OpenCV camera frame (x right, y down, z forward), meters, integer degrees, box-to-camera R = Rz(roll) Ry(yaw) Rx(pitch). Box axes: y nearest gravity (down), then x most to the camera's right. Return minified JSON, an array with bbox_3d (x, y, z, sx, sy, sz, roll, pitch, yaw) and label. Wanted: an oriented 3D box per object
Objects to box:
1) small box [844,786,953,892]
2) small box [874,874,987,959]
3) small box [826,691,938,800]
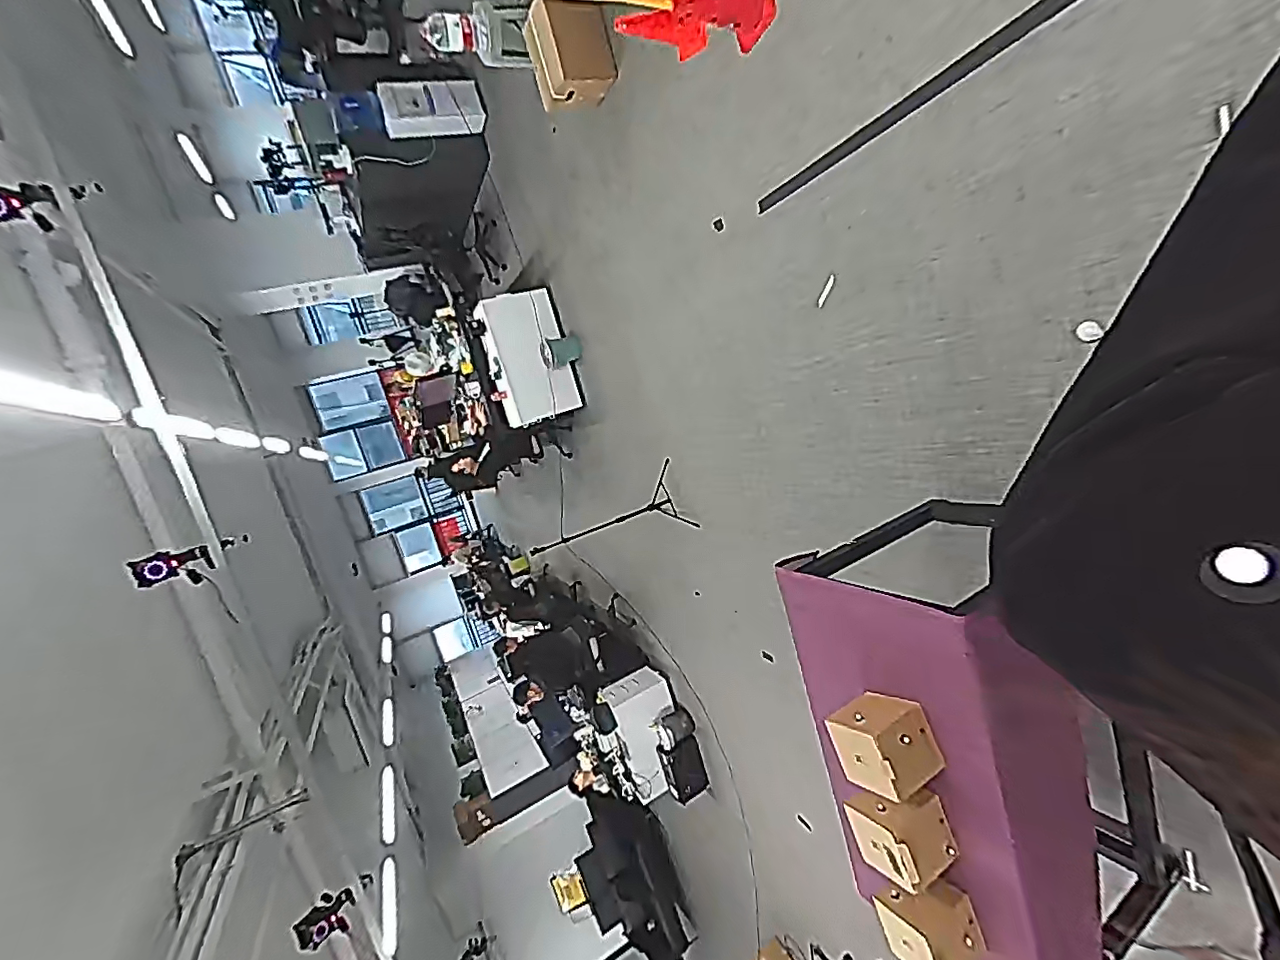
[{"bbox_3d":[0.677,0.900,1.405,0.179,0.176,0.168,-21,89,67],"label":"small box"},{"bbox_3d":[0.764,1.169,1.428,0.179,0.176,0.168,-17,93,67],"label":"small box"},{"bbox_3d":[0.610,0.652,1.354,0.168,0.176,0.179,69,157,2],"label":"small box"}]
